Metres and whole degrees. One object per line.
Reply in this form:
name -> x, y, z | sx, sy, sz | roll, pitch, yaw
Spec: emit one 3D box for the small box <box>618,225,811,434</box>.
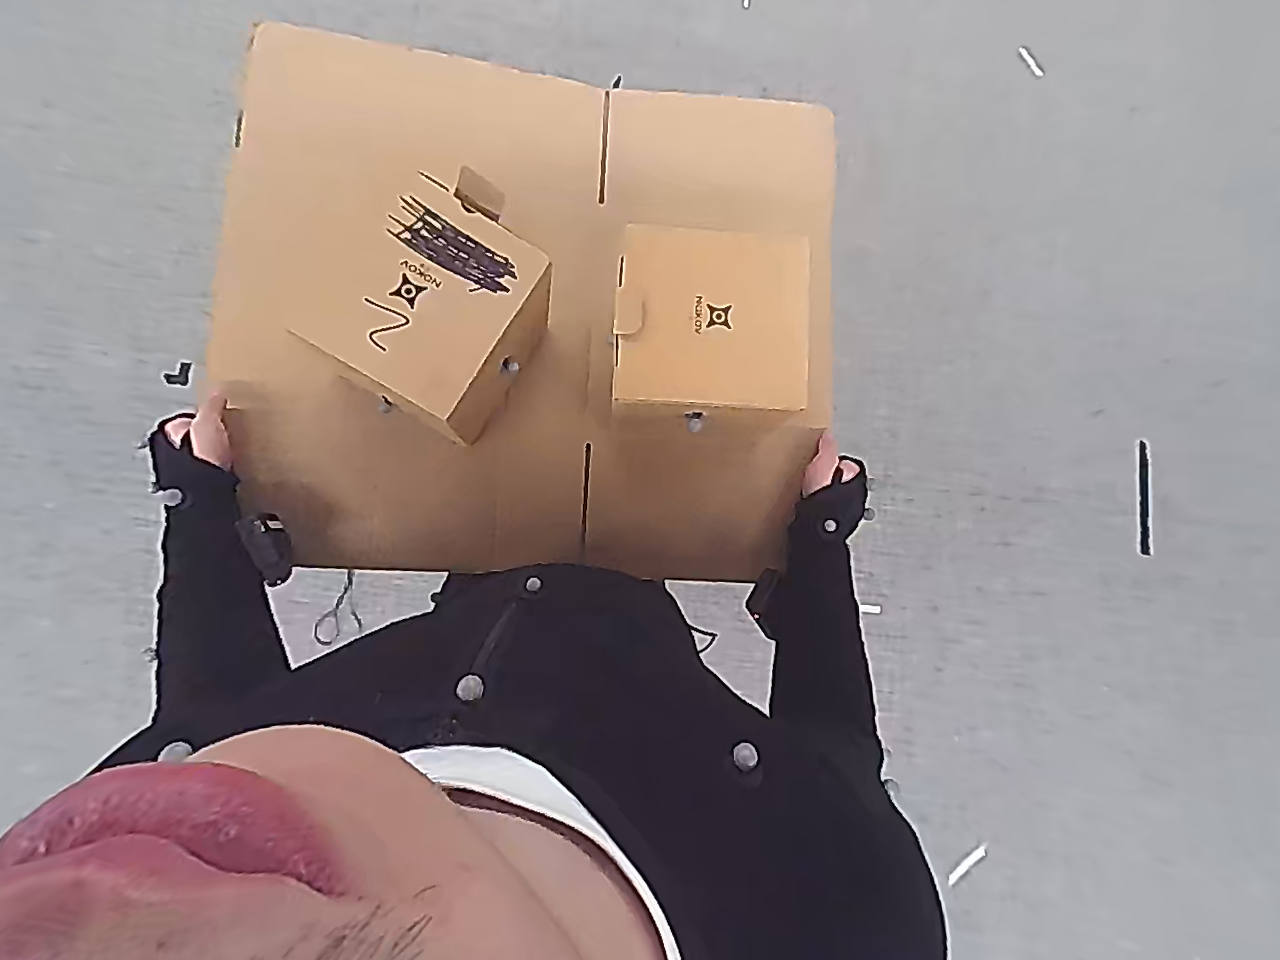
small box -> 0.068, -0.146, 0.582 | 0.179, 0.176, 0.168 | 3, 84, -1
